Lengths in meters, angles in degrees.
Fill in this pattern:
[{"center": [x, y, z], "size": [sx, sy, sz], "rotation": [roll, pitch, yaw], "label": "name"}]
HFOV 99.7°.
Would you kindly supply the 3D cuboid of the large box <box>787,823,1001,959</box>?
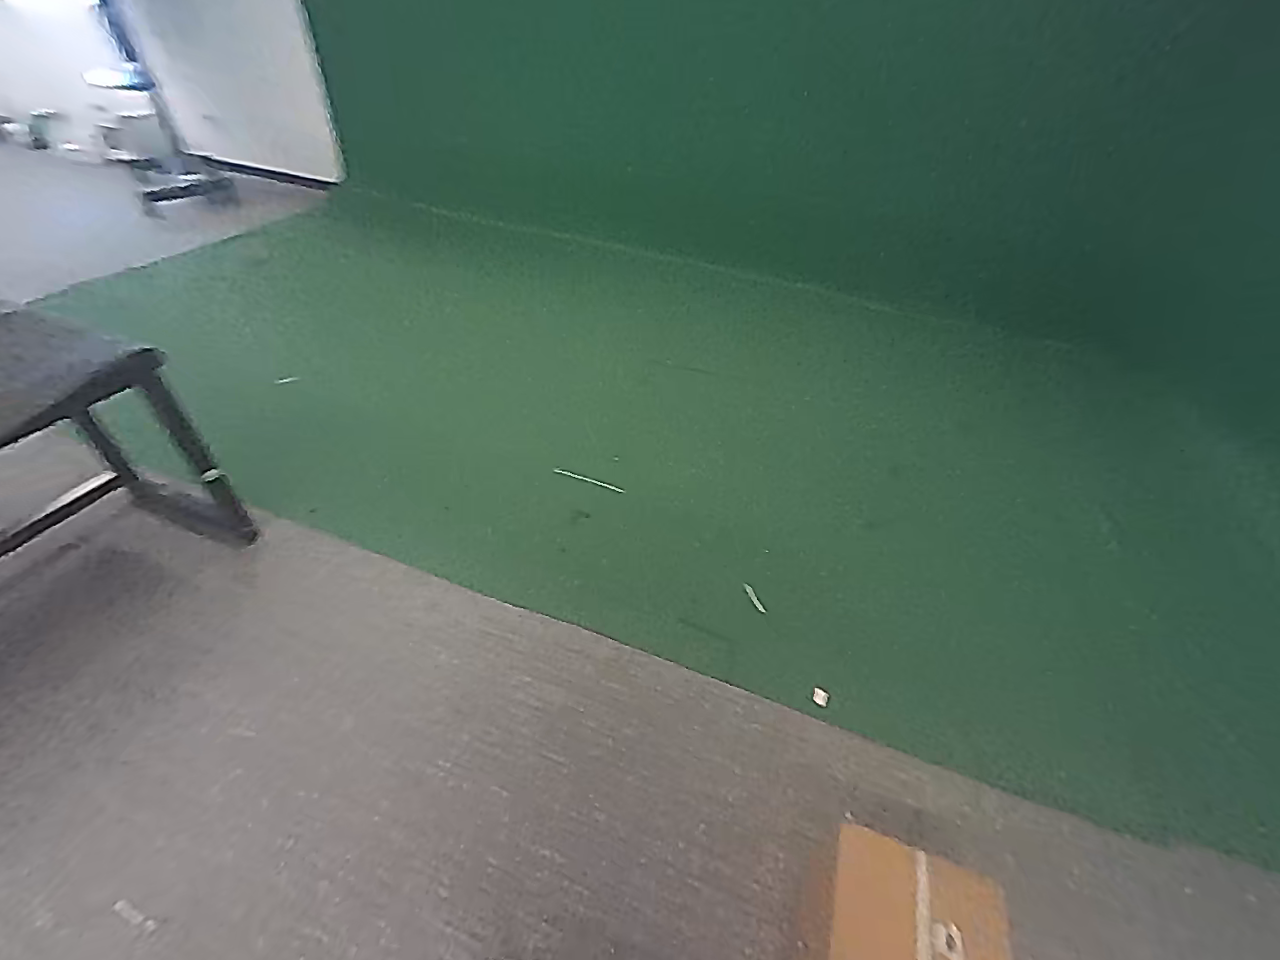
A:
[{"center": [0.467, 0.985, 1.043], "size": [0.320, 0.320, 0.408], "rotation": [18, 42, 13], "label": "large box"}]
